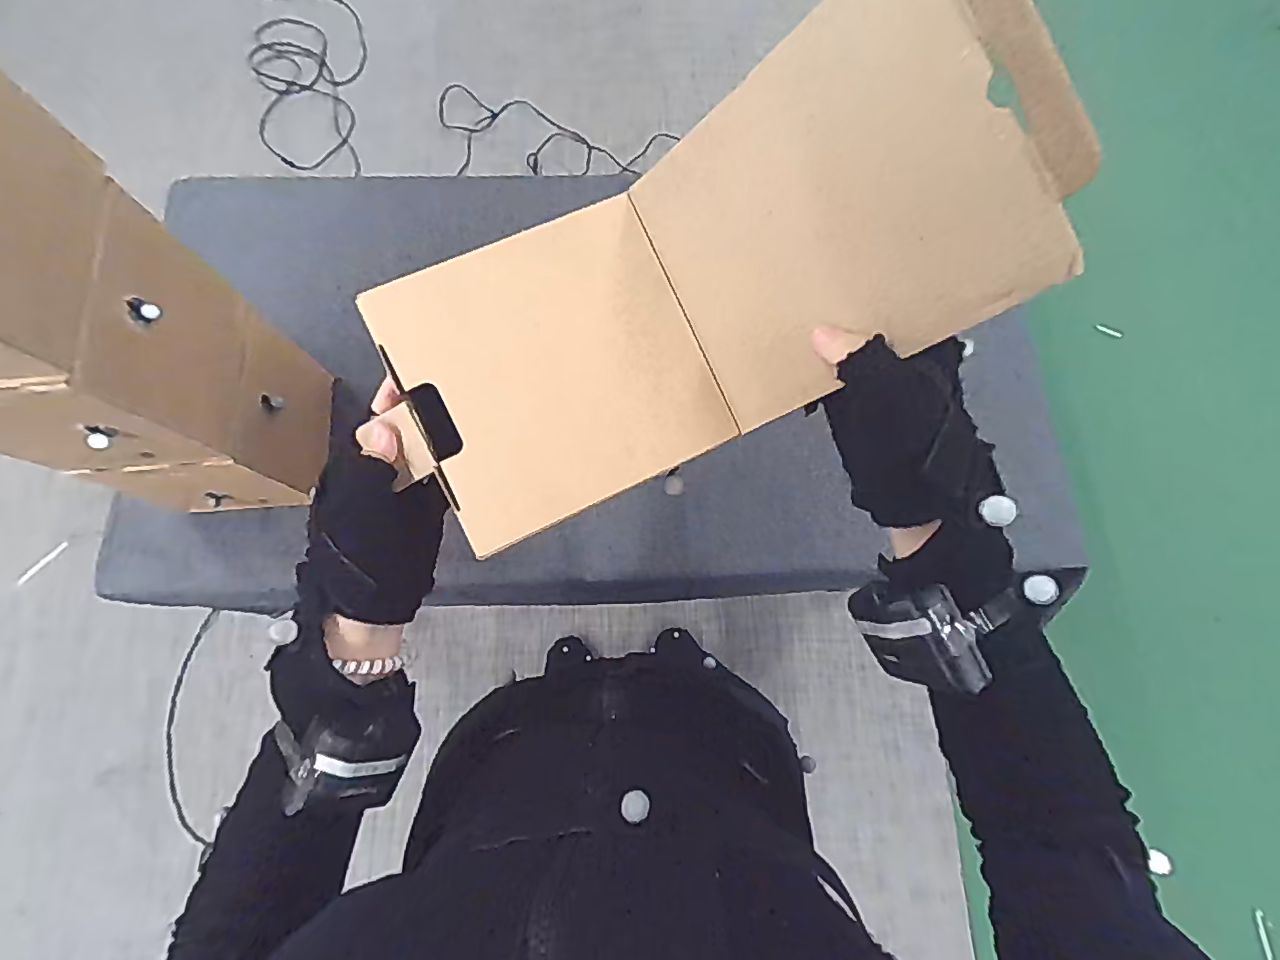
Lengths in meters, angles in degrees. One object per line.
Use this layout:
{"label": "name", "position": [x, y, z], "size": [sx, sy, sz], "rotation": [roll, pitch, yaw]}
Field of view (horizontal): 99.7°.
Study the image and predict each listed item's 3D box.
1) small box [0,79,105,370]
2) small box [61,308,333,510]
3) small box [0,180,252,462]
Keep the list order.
{"label": "small box", "position": [-0.467, -0.170, 0.305], "size": [0.168, 0.176, 0.179], "rotation": [-5, 74, -4]}
{"label": "small box", "position": [-0.477, -0.072, 0.616], "size": [0.168, 0.176, 0.179], "rotation": [-4, 75, -3]}
{"label": "small box", "position": [-0.471, -0.118, 0.460], "size": [0.168, 0.176, 0.179], "rotation": [-3, 74, -3]}
